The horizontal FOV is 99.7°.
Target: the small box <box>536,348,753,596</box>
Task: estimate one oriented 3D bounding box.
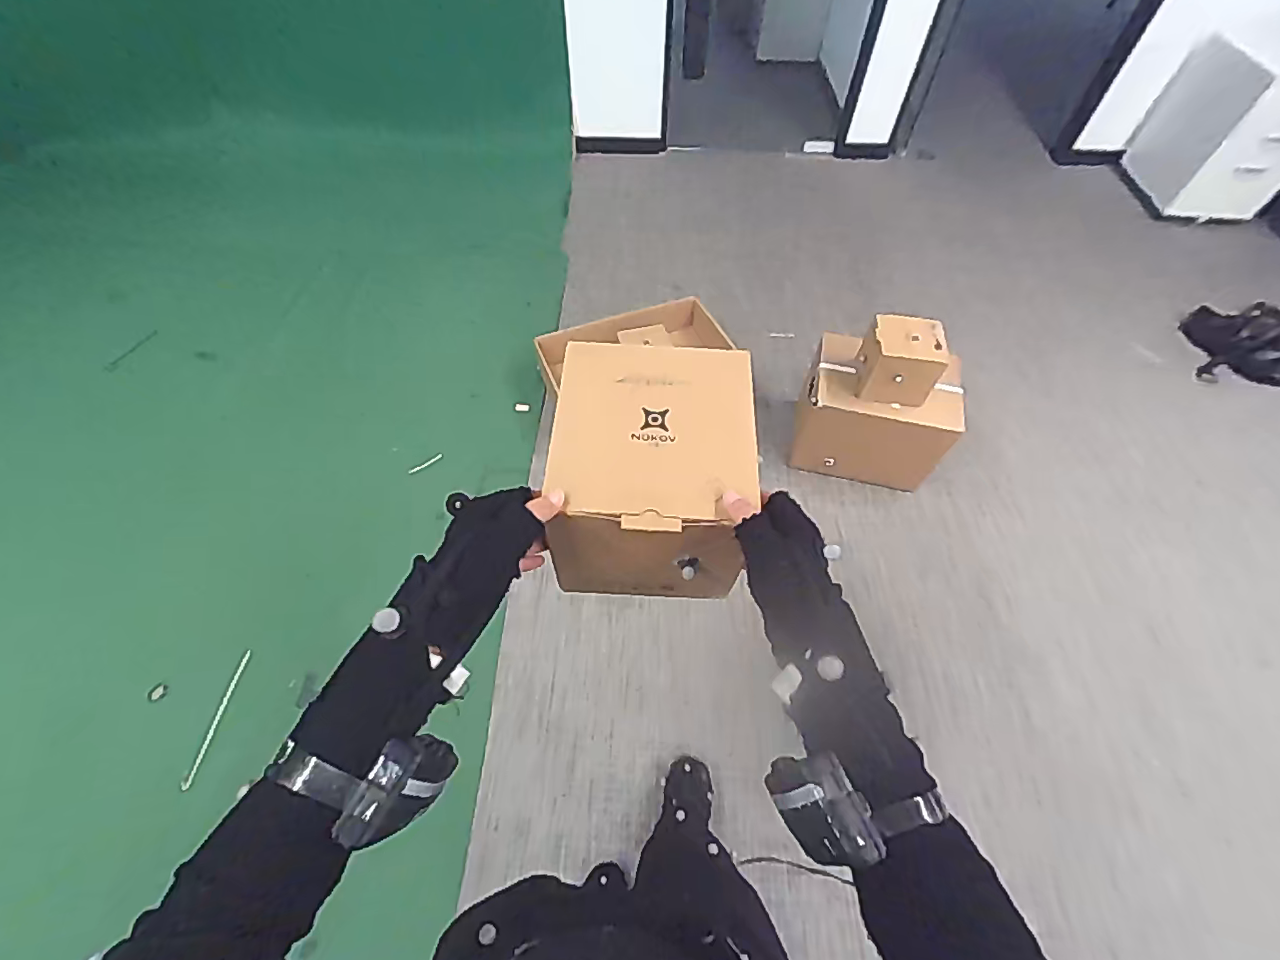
[{"bbox_3d":[0.005,0.000,0.511,0.168,0.176,0.179,3,57,-1],"label":"small box"}]

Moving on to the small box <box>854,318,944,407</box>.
[{"bbox_3d":[0.702,-0.319,1.490,0.179,0.176,0.168,7,57,5],"label":"small box"}]

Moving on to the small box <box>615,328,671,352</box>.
[{"bbox_3d":[0.016,-0.385,1.841,0.168,0.176,0.179,-12,55,-8],"label":"small box"}]
